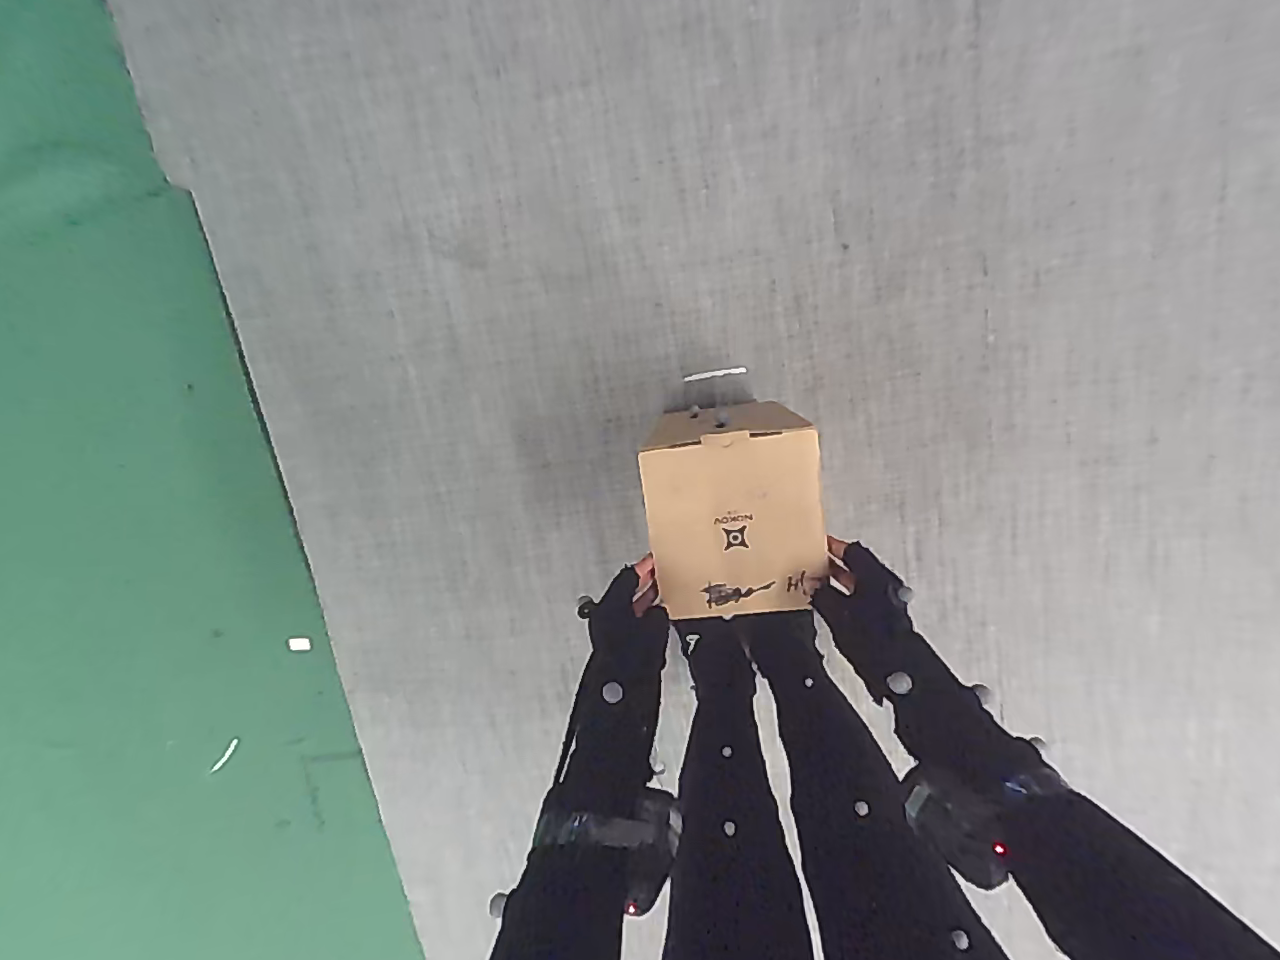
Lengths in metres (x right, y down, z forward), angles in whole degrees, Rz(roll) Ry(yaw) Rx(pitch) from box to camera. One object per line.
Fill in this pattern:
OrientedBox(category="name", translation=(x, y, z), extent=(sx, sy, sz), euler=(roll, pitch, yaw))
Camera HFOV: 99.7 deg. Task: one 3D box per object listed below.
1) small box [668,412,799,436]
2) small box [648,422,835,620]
OrientedBox(category="small box", translation=(0.133, 0.002, 0.754), extent=(0.168, 0.176, 0.179), euler=(-7, 101, 9))
OrientedBox(category="small box", translation=(0.107, 0.033, 0.595), extent=(0.168, 0.176, 0.179), euler=(-7, 100, 9))
